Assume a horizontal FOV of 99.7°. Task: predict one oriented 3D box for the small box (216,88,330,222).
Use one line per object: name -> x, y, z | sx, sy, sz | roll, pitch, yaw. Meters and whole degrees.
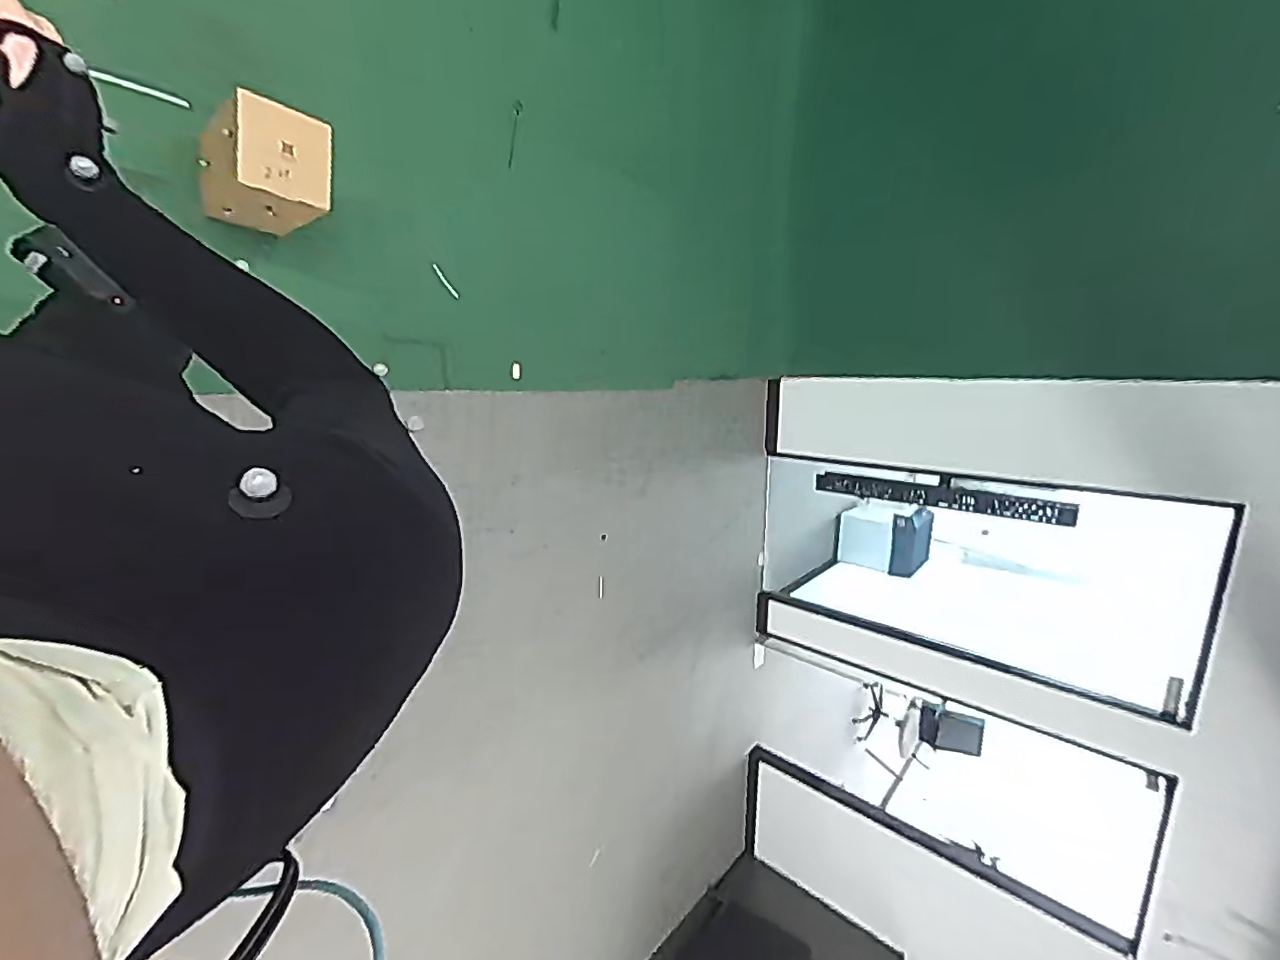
small box -> -0.778, -0.672, 1.143 | 0.168, 0.176, 0.179 | -2, 100, -49
